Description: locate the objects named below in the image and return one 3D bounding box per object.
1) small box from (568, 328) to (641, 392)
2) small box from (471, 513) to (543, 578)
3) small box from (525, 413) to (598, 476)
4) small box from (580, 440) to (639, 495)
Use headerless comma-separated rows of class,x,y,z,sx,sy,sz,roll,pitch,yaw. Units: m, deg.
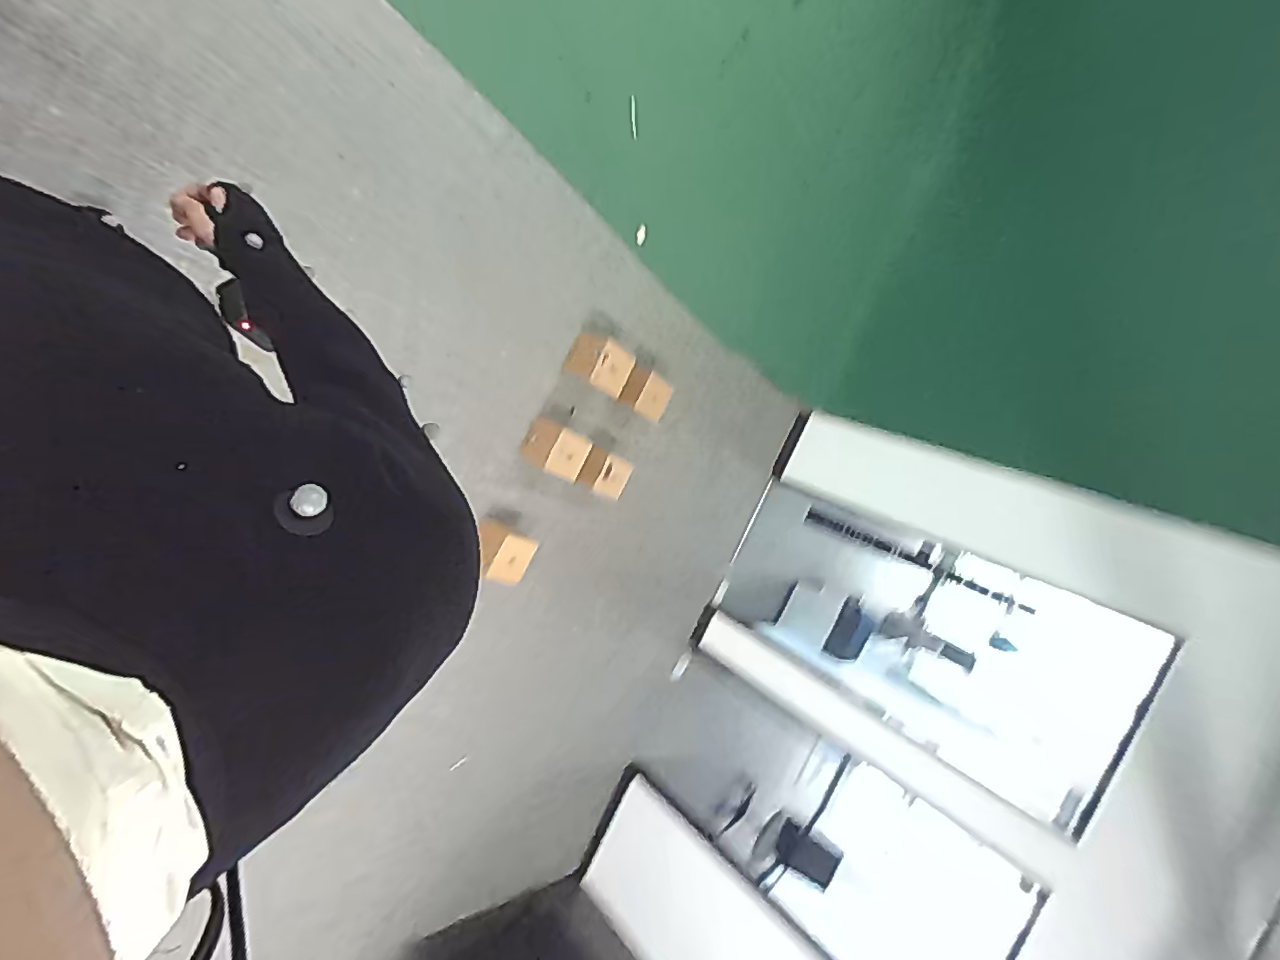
small box,-0.136,-0.456,2.041,0.179,0.176,0.168,24,92,-52
small box,-0.507,0.244,2.047,0.168,0.176,0.179,27,91,-51
small box,-0.300,-0.138,2.047,0.179,0.176,0.168,26,91,-51
small box,-0.143,-0.059,2.262,0.179,0.176,0.168,27,91,-51
